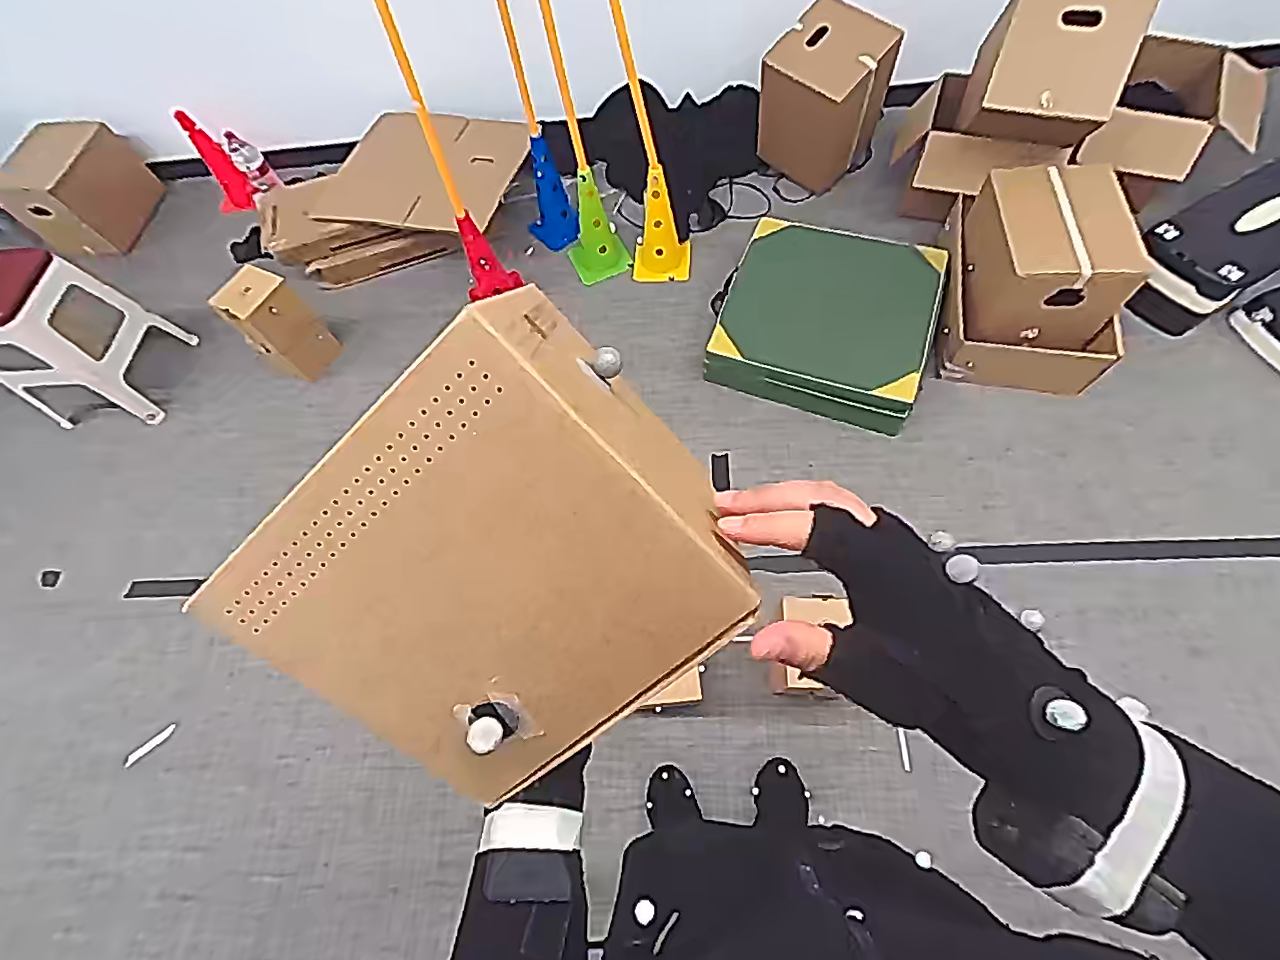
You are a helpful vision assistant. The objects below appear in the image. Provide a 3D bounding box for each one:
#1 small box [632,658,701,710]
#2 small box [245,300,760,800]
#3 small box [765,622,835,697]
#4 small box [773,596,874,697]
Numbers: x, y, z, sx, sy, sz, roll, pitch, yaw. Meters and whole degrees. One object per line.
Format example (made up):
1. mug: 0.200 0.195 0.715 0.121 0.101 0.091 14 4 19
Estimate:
1. small box: 0.051 0.452 1.293 0.179 0.176 0.168 -6 64 2
2. small box: -0.069 0.025 0.304 0.179 0.168 0.176 -41 109 12
3. small box: 0.396 0.416 1.275 0.179 0.176 0.168 2 64 5
4. small box: 0.372 0.350 1.128 0.168 0.176 0.179 1 66 7
